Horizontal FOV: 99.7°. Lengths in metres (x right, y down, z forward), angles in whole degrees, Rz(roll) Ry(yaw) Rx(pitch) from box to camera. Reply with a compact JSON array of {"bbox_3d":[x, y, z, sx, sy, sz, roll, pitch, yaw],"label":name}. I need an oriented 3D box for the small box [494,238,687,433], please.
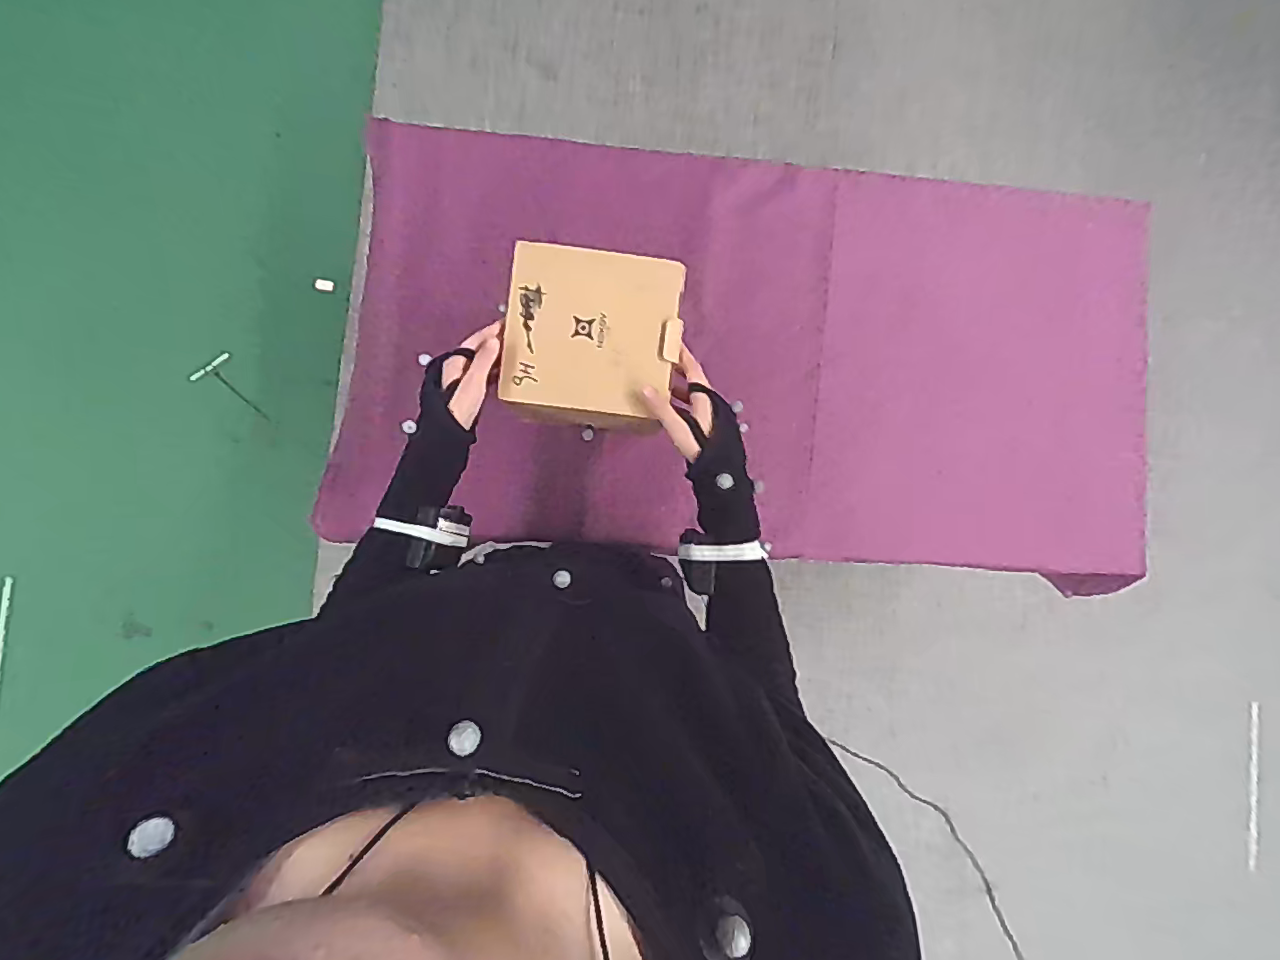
[{"bbox_3d":[-0.053,-0.152,0.630,0.179,0.176,0.168,9,89,-2],"label":"small box"}]
